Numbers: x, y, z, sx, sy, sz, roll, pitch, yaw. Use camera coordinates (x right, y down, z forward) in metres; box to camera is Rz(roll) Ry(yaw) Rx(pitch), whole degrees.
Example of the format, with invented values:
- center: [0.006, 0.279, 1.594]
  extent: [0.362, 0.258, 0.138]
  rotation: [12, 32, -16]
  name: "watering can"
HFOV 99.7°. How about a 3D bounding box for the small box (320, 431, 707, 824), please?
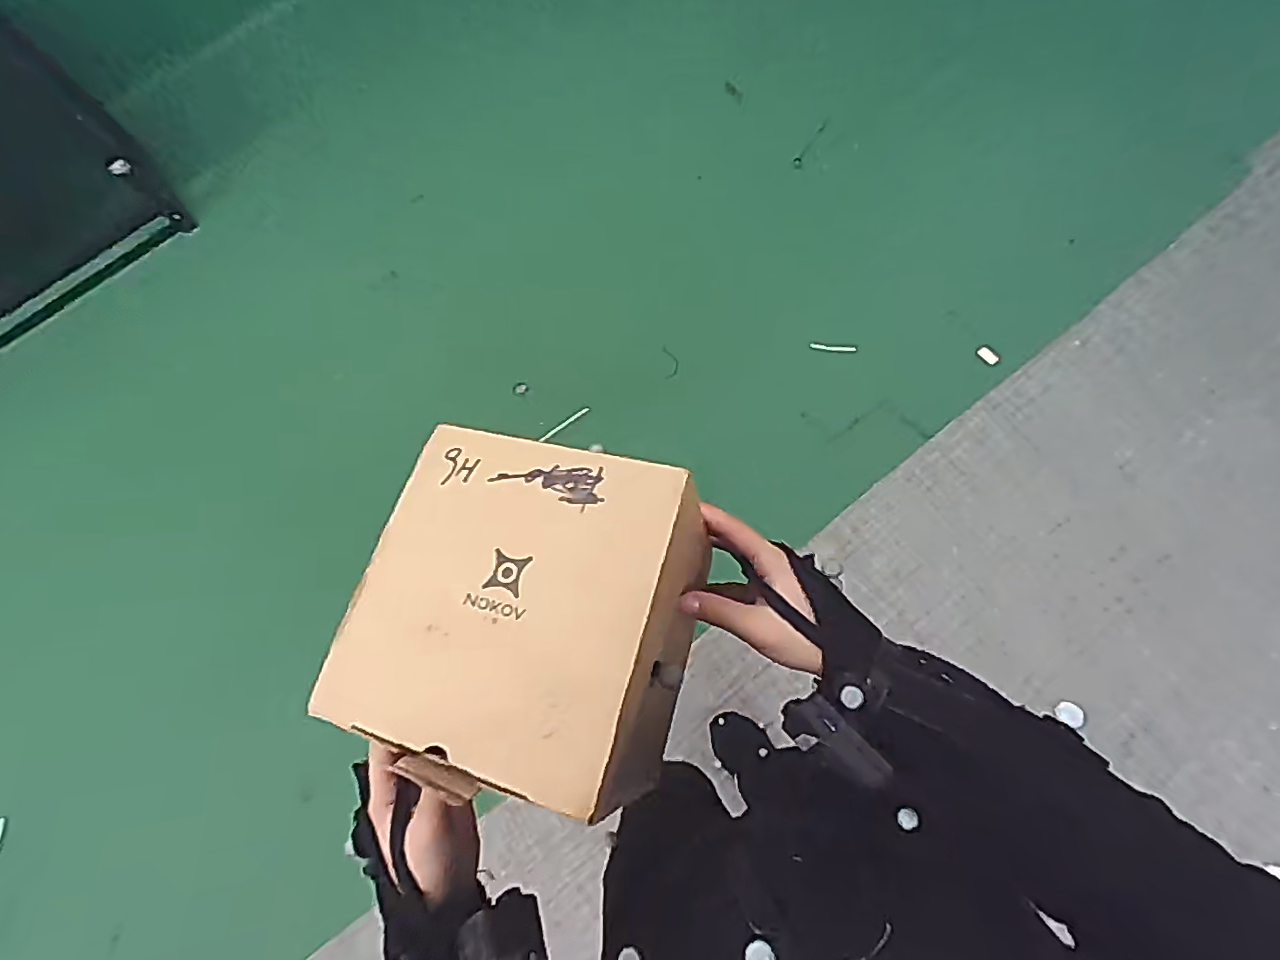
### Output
- center: [-0.057, 0.092, 0.364]
  extent: [0.168, 0.176, 0.179]
  rotation: [11, 70, 17]
  name: "small box"
